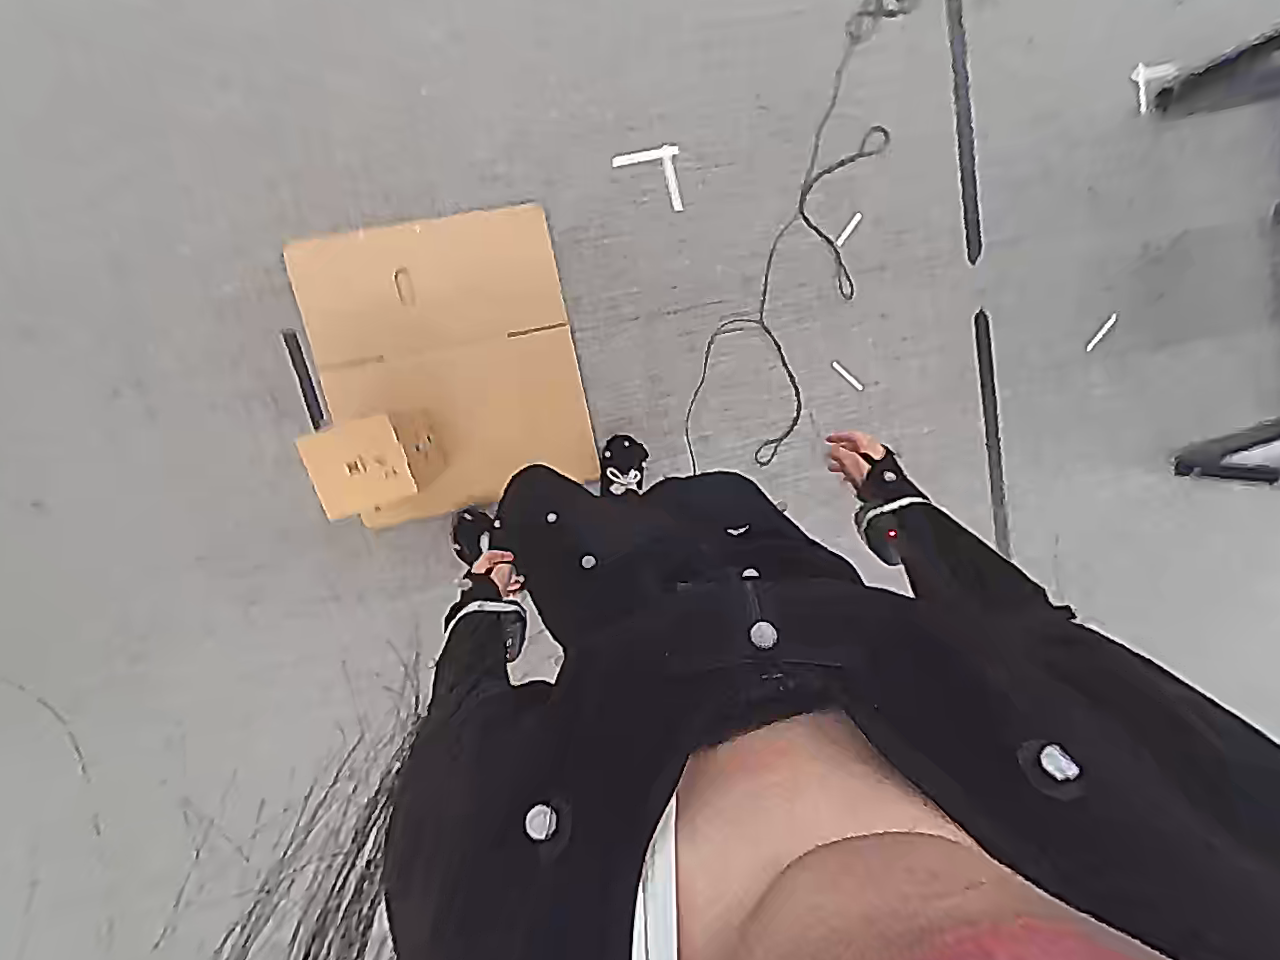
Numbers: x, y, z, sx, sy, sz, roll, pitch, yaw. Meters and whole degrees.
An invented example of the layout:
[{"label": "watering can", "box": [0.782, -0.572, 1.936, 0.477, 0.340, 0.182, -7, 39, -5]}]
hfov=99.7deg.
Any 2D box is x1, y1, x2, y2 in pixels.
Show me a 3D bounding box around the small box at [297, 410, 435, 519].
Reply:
[{"label": "small box", "box": [-0.541, -0.038, 1.095, 0.179, 0.176, 0.168, -19, 102, -7]}]
